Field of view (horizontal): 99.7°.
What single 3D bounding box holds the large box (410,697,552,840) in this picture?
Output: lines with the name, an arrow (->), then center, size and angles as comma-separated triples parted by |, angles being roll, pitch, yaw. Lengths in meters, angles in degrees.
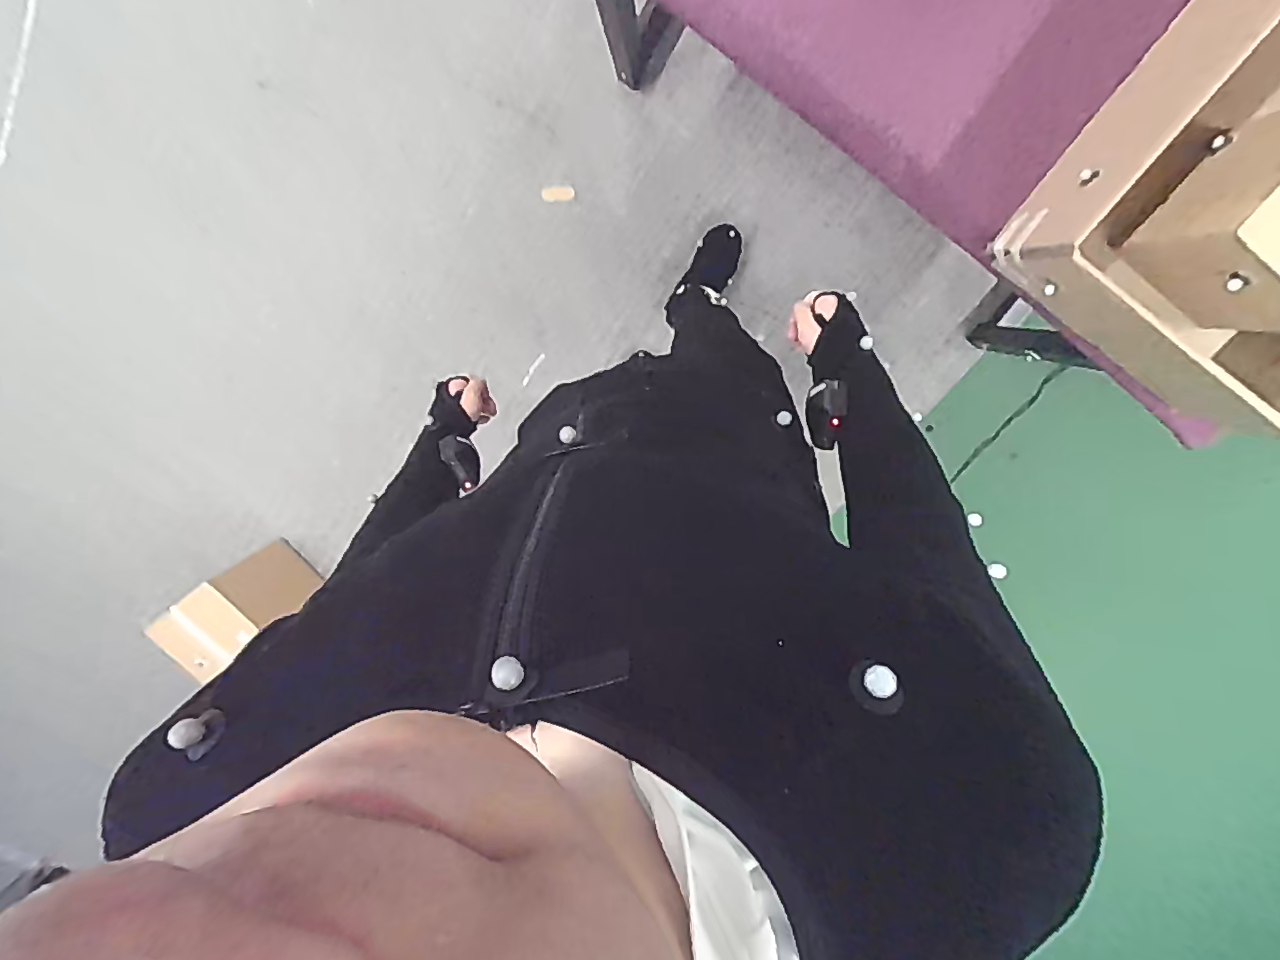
large box -> -0.536, 0.997, 1.896 | 0.408, 0.320, 0.320 | 4, 110, 2
